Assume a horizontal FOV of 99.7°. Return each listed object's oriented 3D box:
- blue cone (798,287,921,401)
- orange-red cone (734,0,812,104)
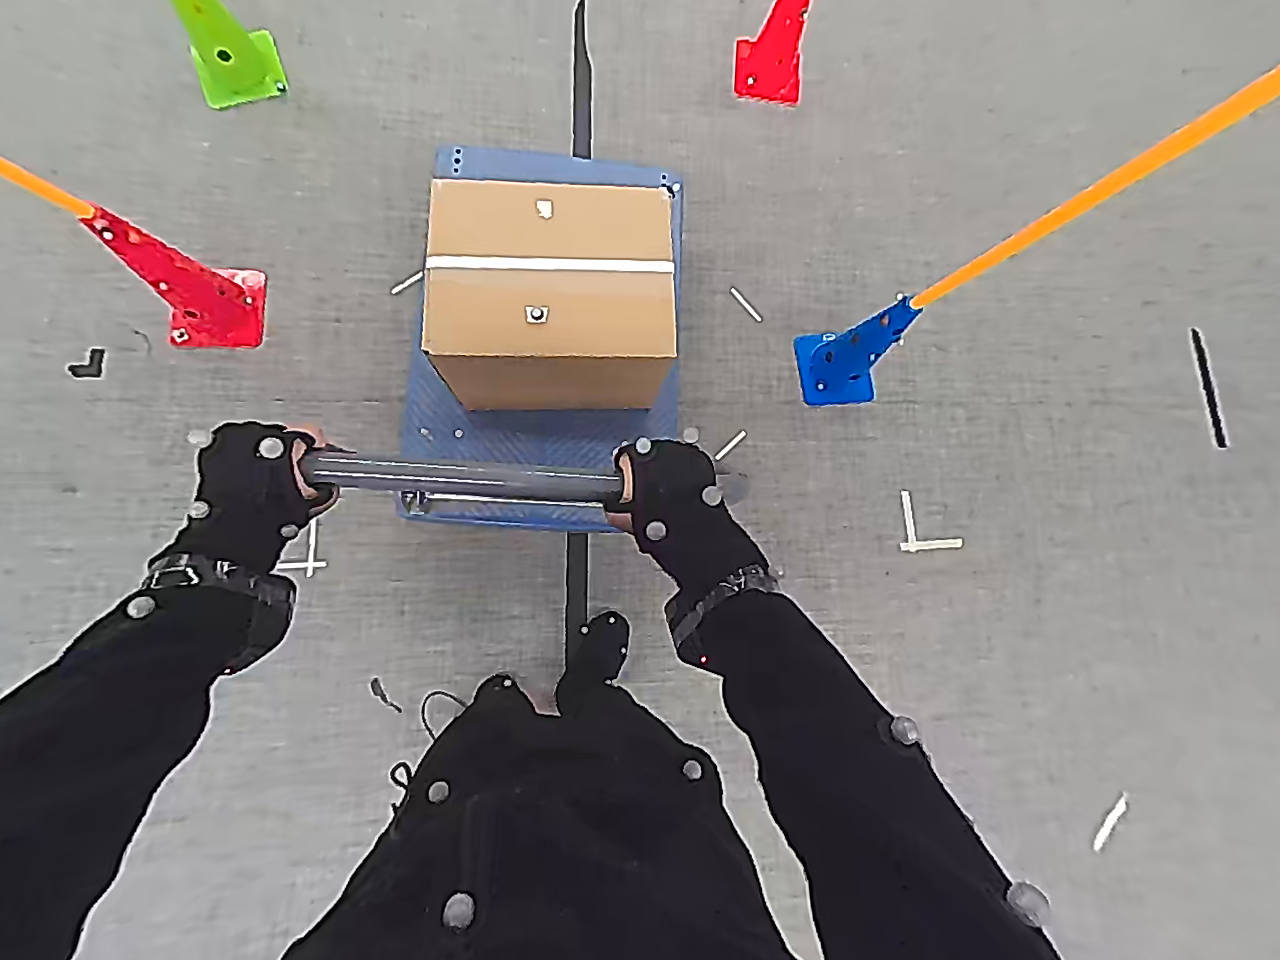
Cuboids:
[{"bbox_3d":[0.545,-0.337,1.294,0.193,0.380,0.192,-4,80,-8],"label":"blue cone"},{"bbox_3d":[0.399,-1.229,1.416,0.199,0.360,0.198,6,80,-7],"label":"orange-red cone"}]
